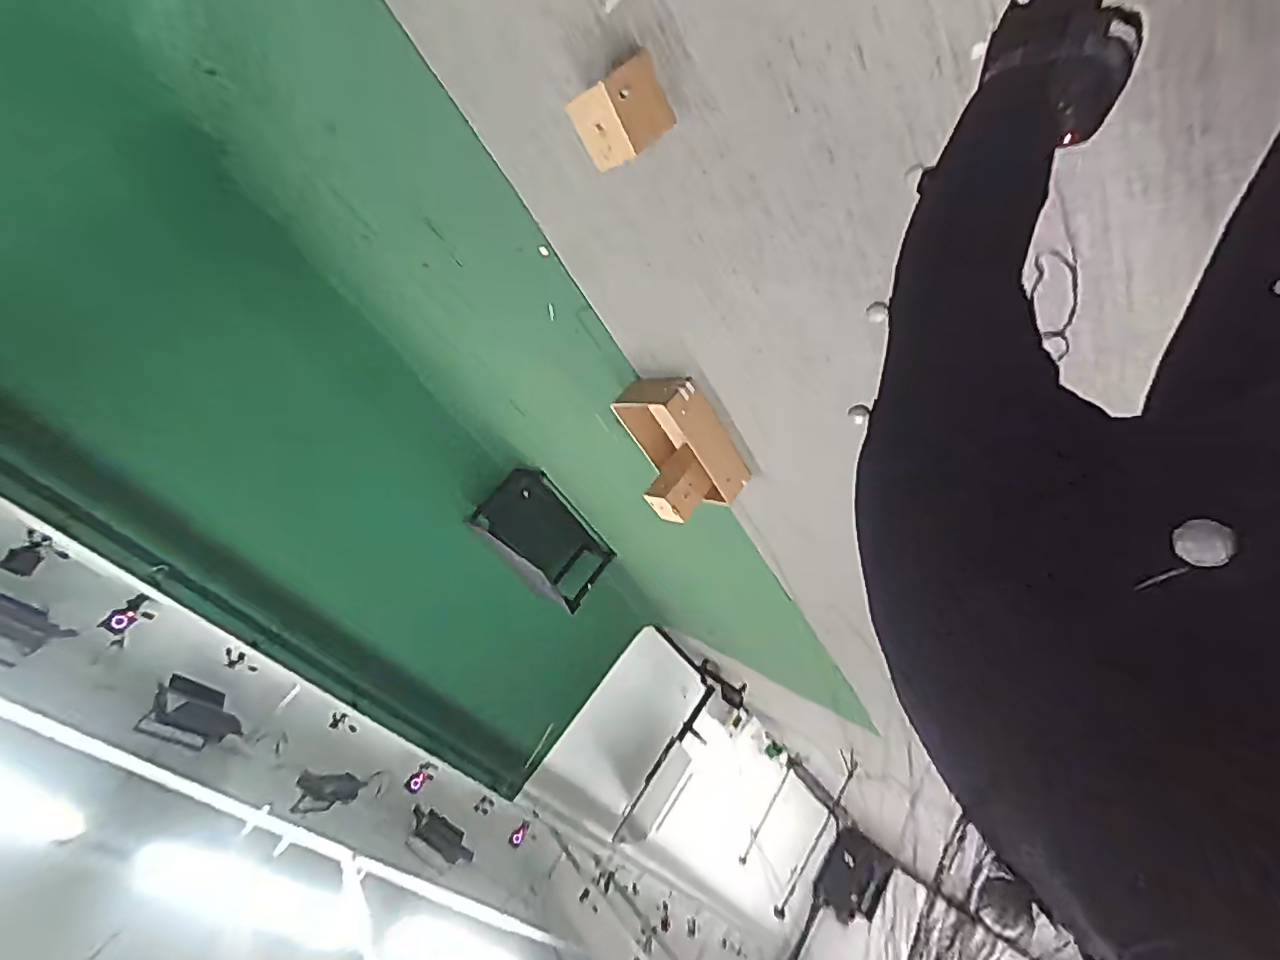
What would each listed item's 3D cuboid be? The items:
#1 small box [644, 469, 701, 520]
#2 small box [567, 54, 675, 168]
[{"bbox_3d":[0.156,0.062,2.482,0.179,0.176,0.168,6,142,54],"label":"small box"},{"bbox_3d":[-0.045,-0.939,1.374,0.168,0.176,0.179,16,149,48],"label":"small box"}]
